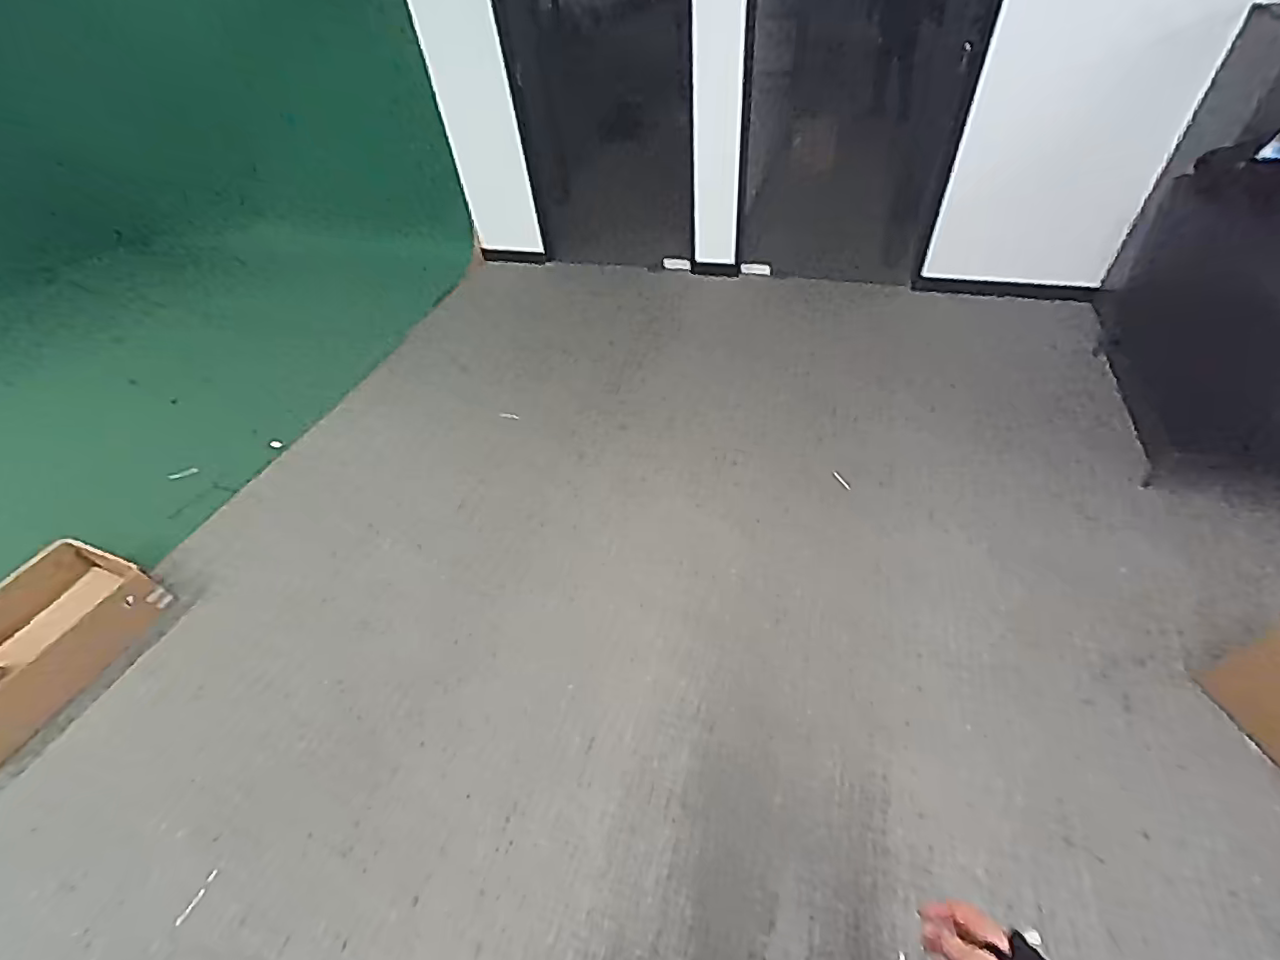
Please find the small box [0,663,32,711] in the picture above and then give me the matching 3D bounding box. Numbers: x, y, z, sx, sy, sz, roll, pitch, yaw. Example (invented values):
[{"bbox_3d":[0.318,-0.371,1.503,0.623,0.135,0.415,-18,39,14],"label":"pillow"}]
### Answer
[{"bbox_3d":[-1.910,0.591,1.519,0.168,0.176,0.179,13,48,16],"label":"small box"}]
